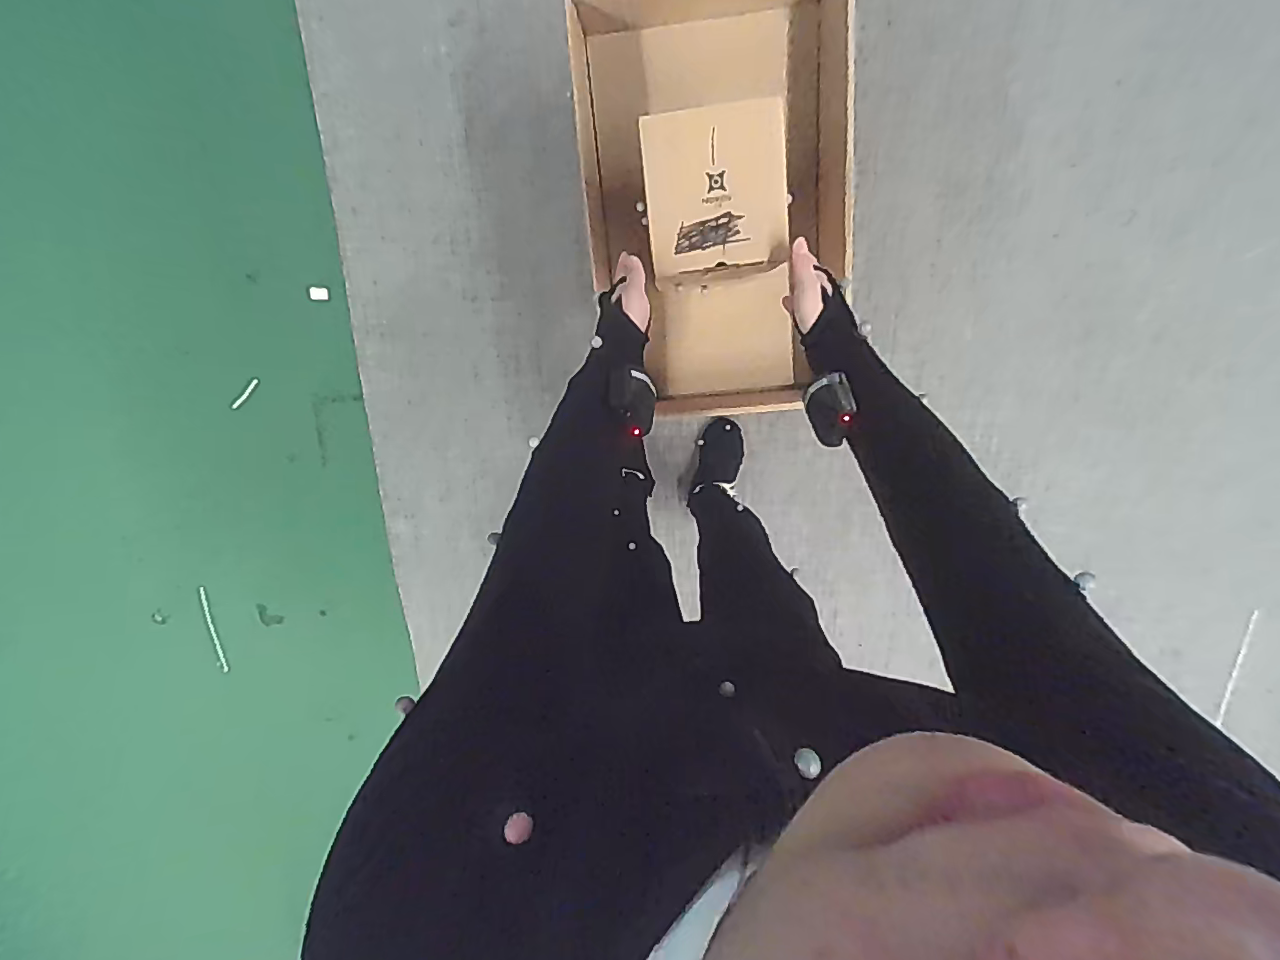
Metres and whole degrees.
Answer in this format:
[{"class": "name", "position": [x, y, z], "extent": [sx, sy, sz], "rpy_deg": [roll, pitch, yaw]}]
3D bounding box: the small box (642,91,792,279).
[{"class": "small box", "position": [0.097, -0.361, 0.700], "extent": [0.168, 0.176, 0.179], "rpy_deg": [-6, 105, 5]}]

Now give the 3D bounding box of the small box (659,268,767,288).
[{"class": "small box", "position": [0.106, -0.409, 0.857], "extent": [0.168, 0.176, 0.179], "rpy_deg": [-4, 106, 5]}]
